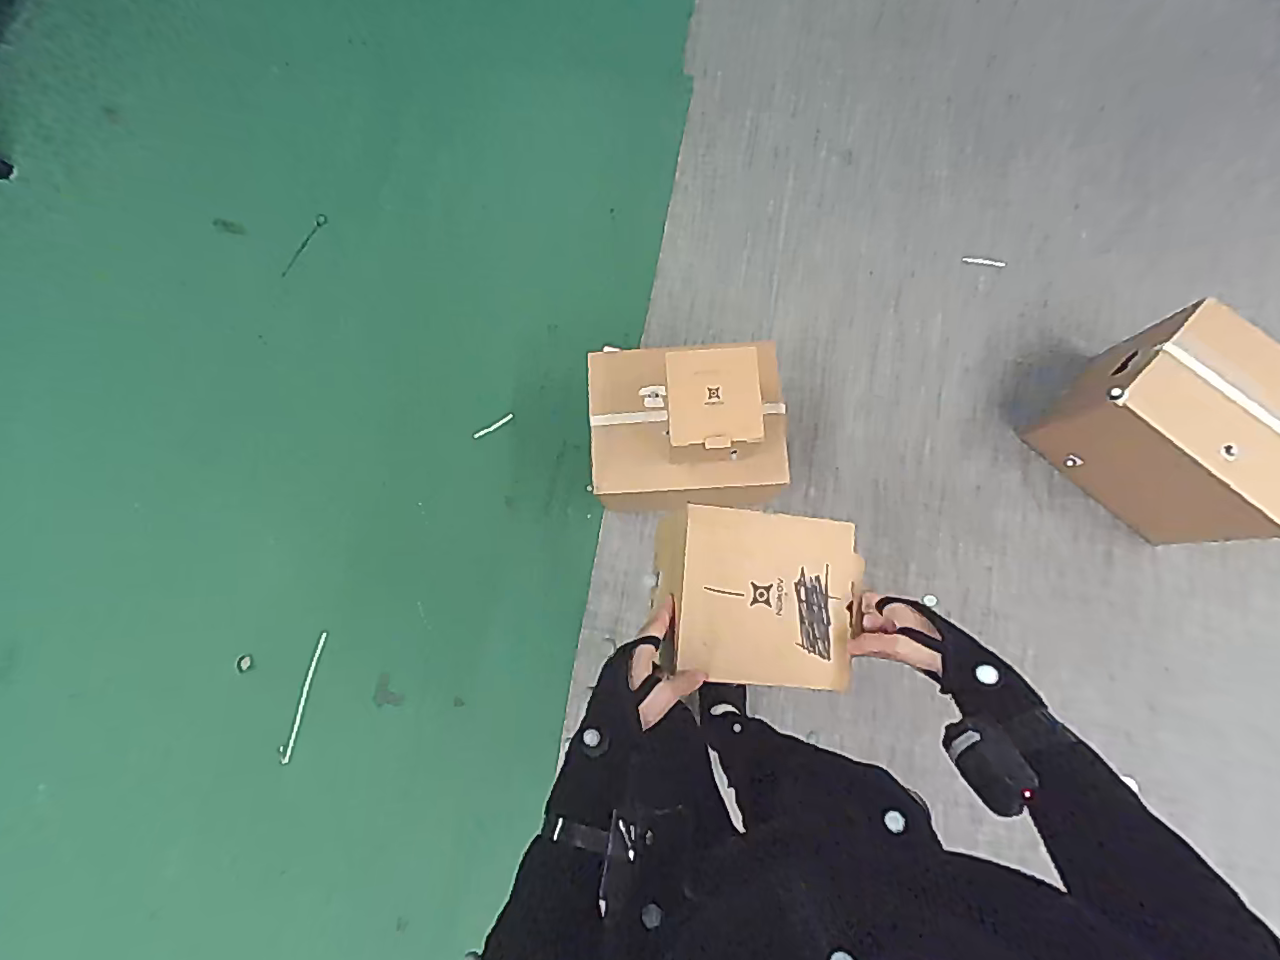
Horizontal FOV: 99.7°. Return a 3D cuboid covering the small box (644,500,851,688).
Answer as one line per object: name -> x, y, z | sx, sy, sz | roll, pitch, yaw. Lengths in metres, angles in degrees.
small box -> 0.109, 0.124, 0.598 | 0.179, 0.176, 0.168 | 7, 78, -7

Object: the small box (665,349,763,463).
small box -> 0.135, -0.131, 1.026 | 0.168, 0.176, 0.179 | -3, 80, 2

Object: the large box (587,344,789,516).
large box -> 0.106, -0.095, 1.272 | 0.408, 0.320, 0.320 | -4, 78, 4
